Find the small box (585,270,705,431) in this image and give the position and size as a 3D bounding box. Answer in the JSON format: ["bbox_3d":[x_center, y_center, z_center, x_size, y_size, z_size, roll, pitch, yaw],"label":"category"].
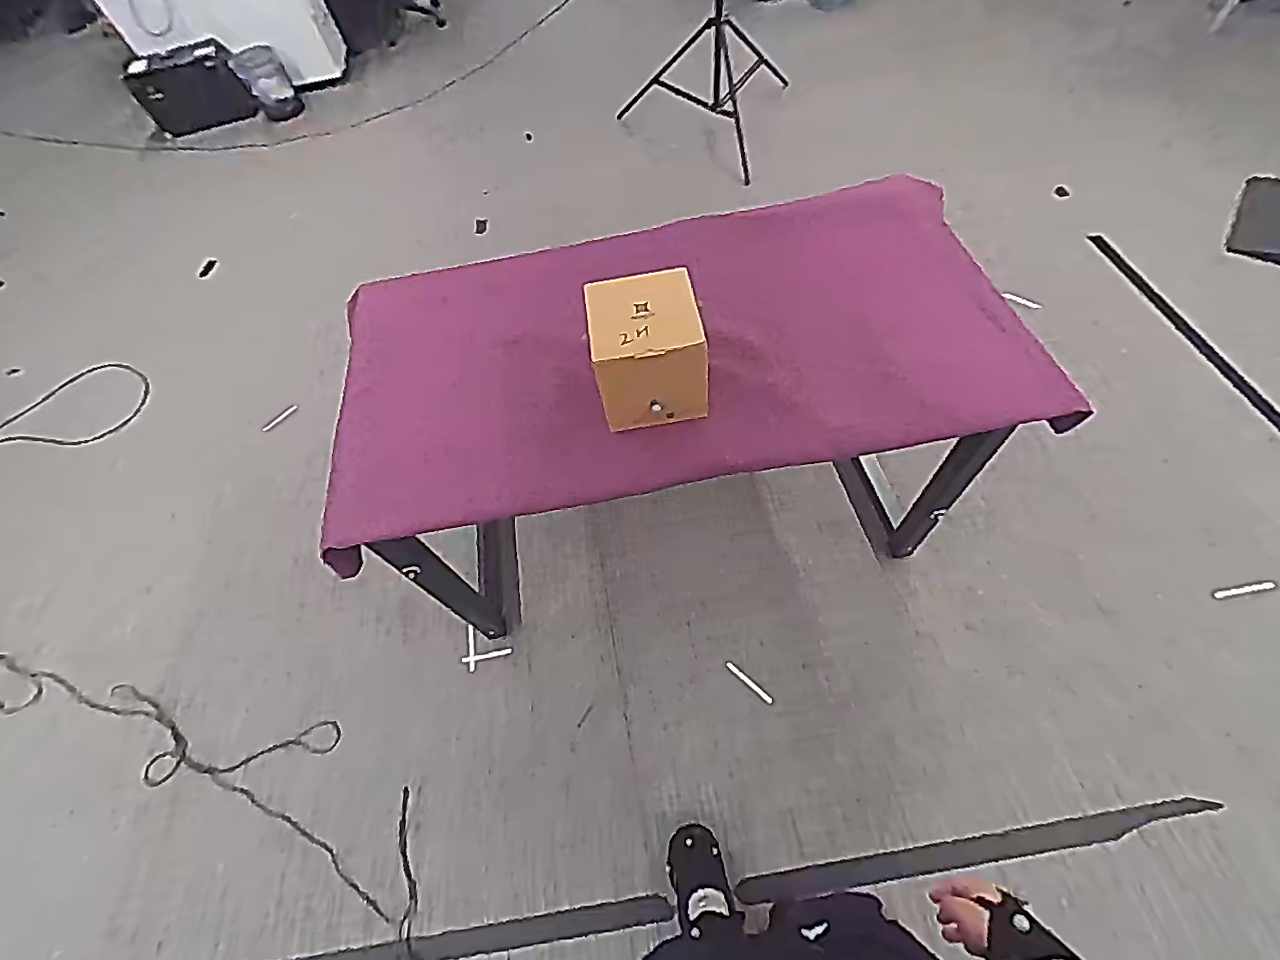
[{"bbox_3d":[0.010,-0.206,0.879,0.168,0.176,0.179,-10,58,2],"label":"small box"}]
